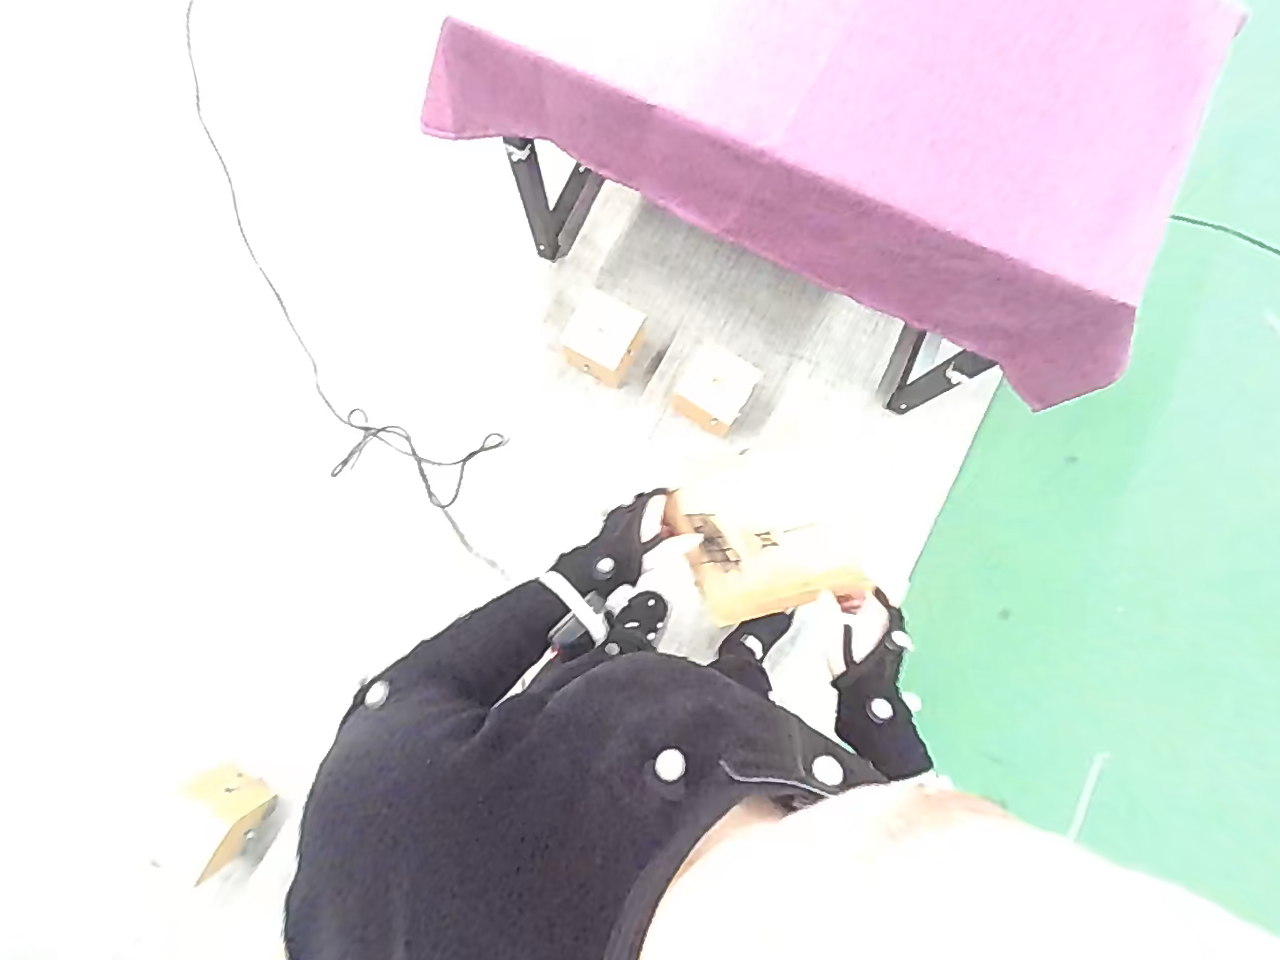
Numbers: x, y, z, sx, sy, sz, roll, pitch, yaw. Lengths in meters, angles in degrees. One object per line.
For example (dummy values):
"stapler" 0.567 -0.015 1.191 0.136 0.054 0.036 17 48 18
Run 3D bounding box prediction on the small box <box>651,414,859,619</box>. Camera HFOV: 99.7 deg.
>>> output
"small box" 0.145 0.036 0.644 0.179 0.176 0.168 -24 96 24

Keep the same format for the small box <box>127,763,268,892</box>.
"small box" -1.056 0.829 1.313 0.168 0.176 0.179 30 82 4
